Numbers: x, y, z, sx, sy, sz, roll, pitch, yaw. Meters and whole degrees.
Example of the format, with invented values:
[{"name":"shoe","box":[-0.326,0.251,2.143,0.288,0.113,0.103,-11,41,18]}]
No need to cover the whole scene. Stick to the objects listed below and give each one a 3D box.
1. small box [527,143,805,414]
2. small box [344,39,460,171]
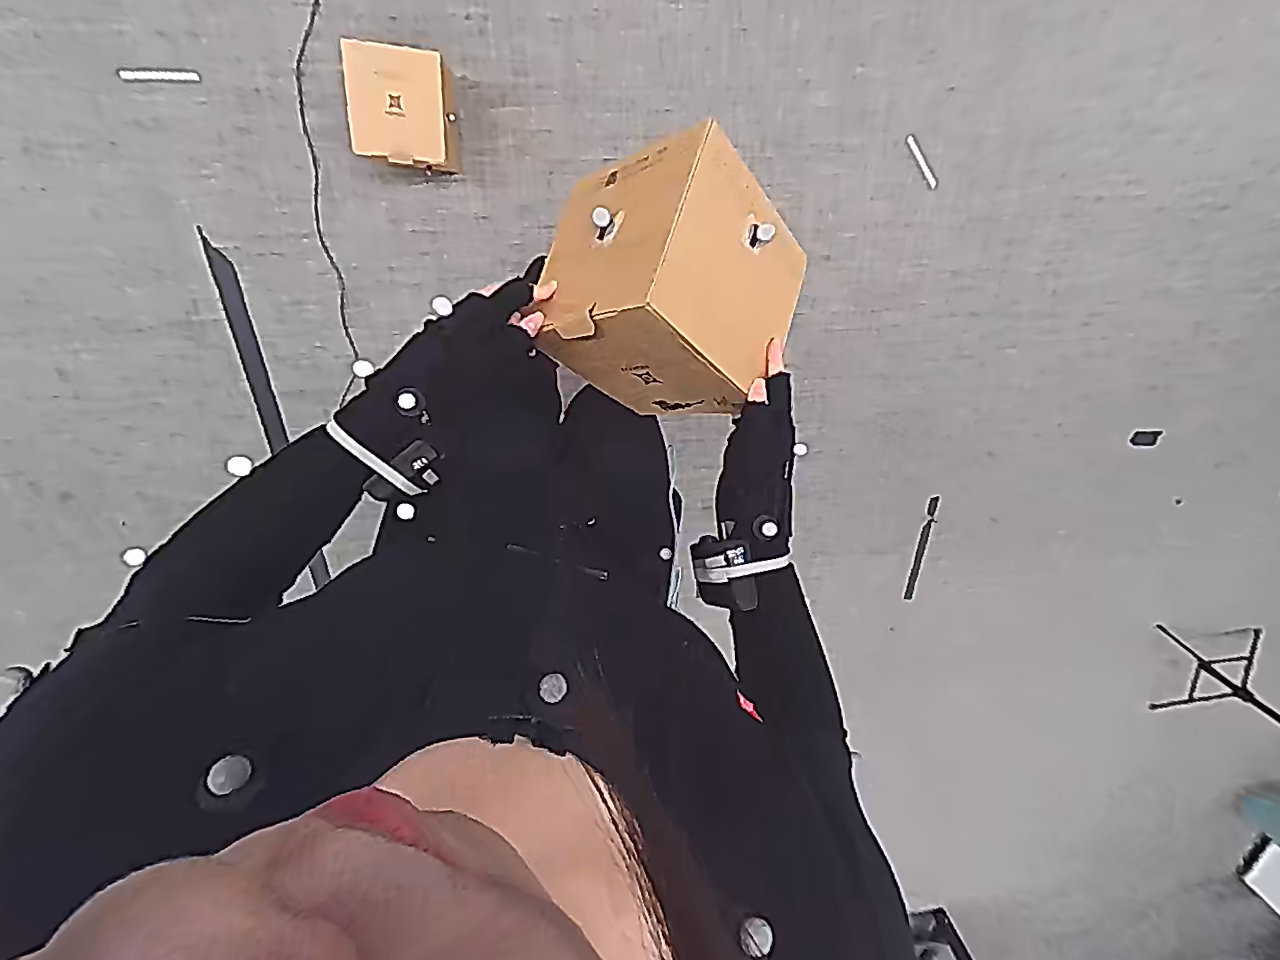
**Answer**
[{"name":"small box","box":[0.031,-0.176,0.509,0.179,0.168,0.176,30,74,-43]},{"name":"small box","box":[-0.446,-0.707,1.043,0.168,0.176,0.179,1,115,-10]}]
